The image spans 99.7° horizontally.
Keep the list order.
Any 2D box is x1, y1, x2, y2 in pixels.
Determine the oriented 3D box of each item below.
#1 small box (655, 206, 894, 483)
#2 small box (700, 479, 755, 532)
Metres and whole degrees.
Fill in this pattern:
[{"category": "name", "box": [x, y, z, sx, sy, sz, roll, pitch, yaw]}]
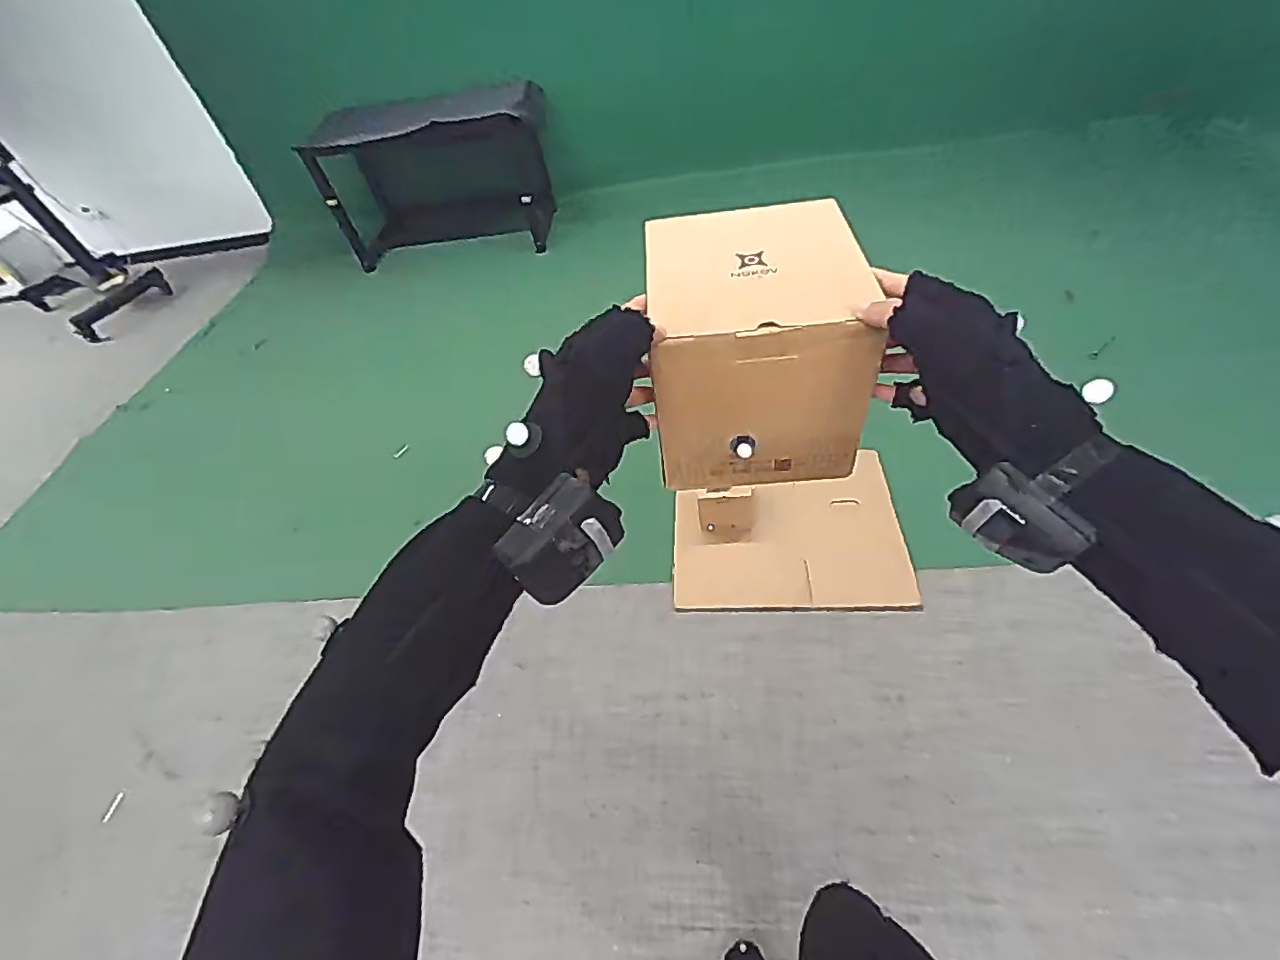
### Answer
[{"category": "small box", "box": [0.100, -0.118, 0.485, 0.168, 0.176, 0.179, -4, 51, 5]}, {"category": "small box", "box": [0.284, 0.055, 1.744, 0.168, 0.176, 0.179, -2, 47, 11]}]
